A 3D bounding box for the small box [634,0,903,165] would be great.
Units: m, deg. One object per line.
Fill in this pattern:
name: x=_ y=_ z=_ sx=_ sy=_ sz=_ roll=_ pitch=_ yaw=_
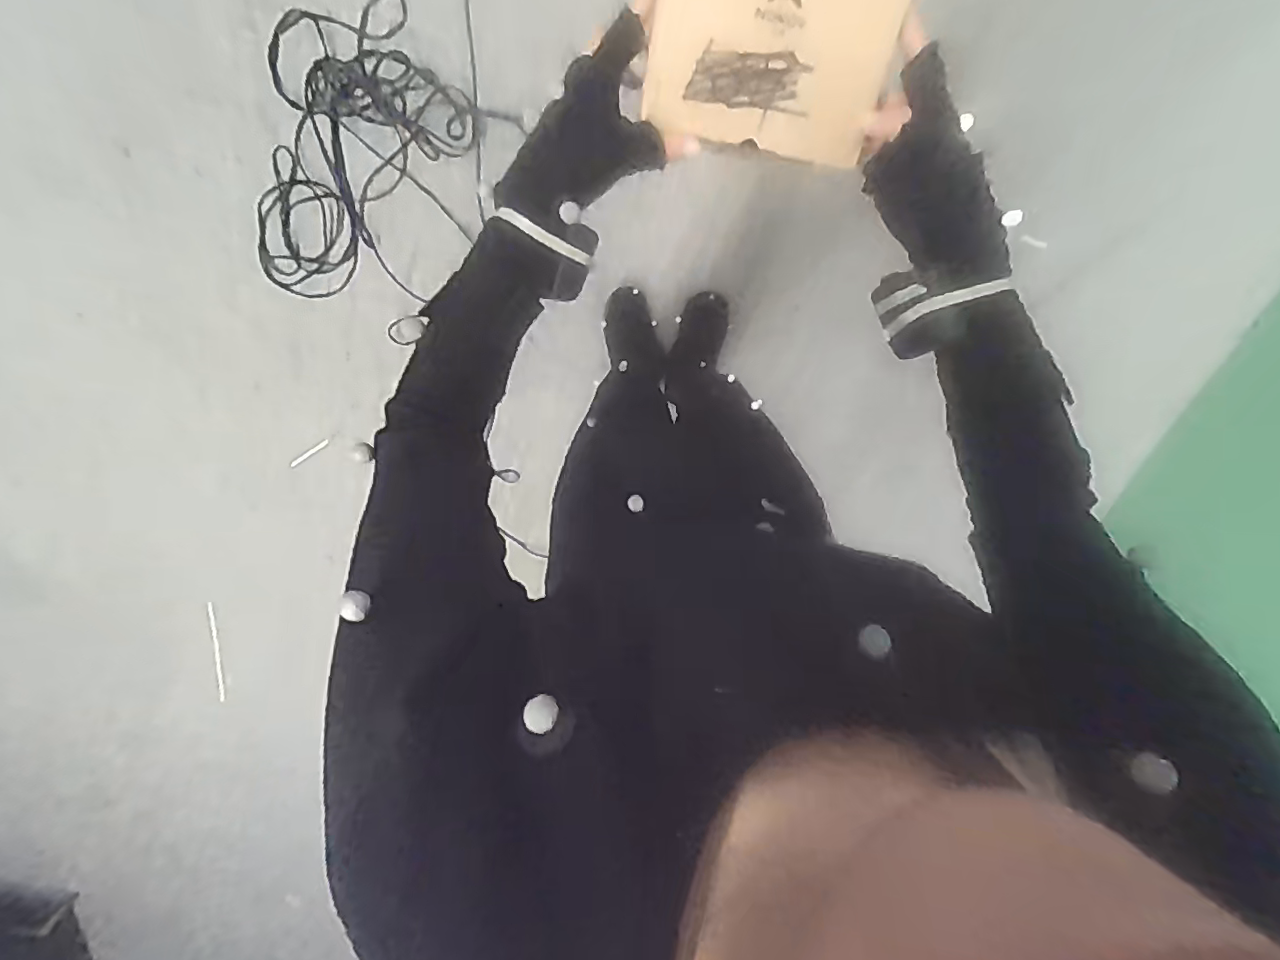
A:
small box: x=0.090 y=-0.361 z=0.421 sx=0.168 sy=0.176 sz=0.179 roll=8 pitch=120 yaw=-7
